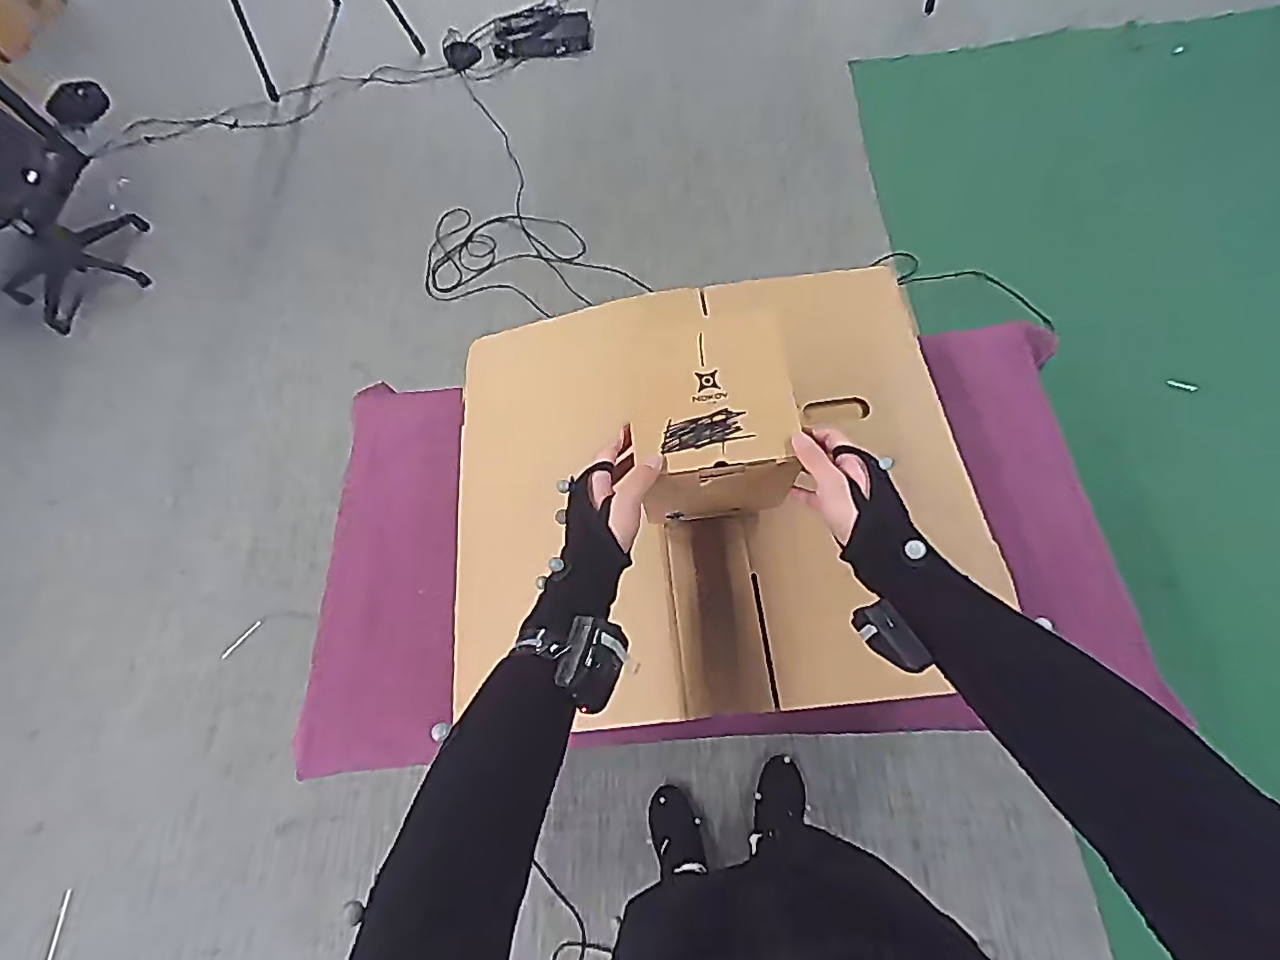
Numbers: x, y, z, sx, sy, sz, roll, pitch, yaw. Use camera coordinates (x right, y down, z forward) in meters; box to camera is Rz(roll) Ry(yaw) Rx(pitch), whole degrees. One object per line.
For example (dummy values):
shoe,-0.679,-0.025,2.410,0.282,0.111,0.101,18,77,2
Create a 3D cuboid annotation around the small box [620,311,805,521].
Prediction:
small box,0.075,-0.059,0.614,0.168,0.176,0.179,-8,69,2
